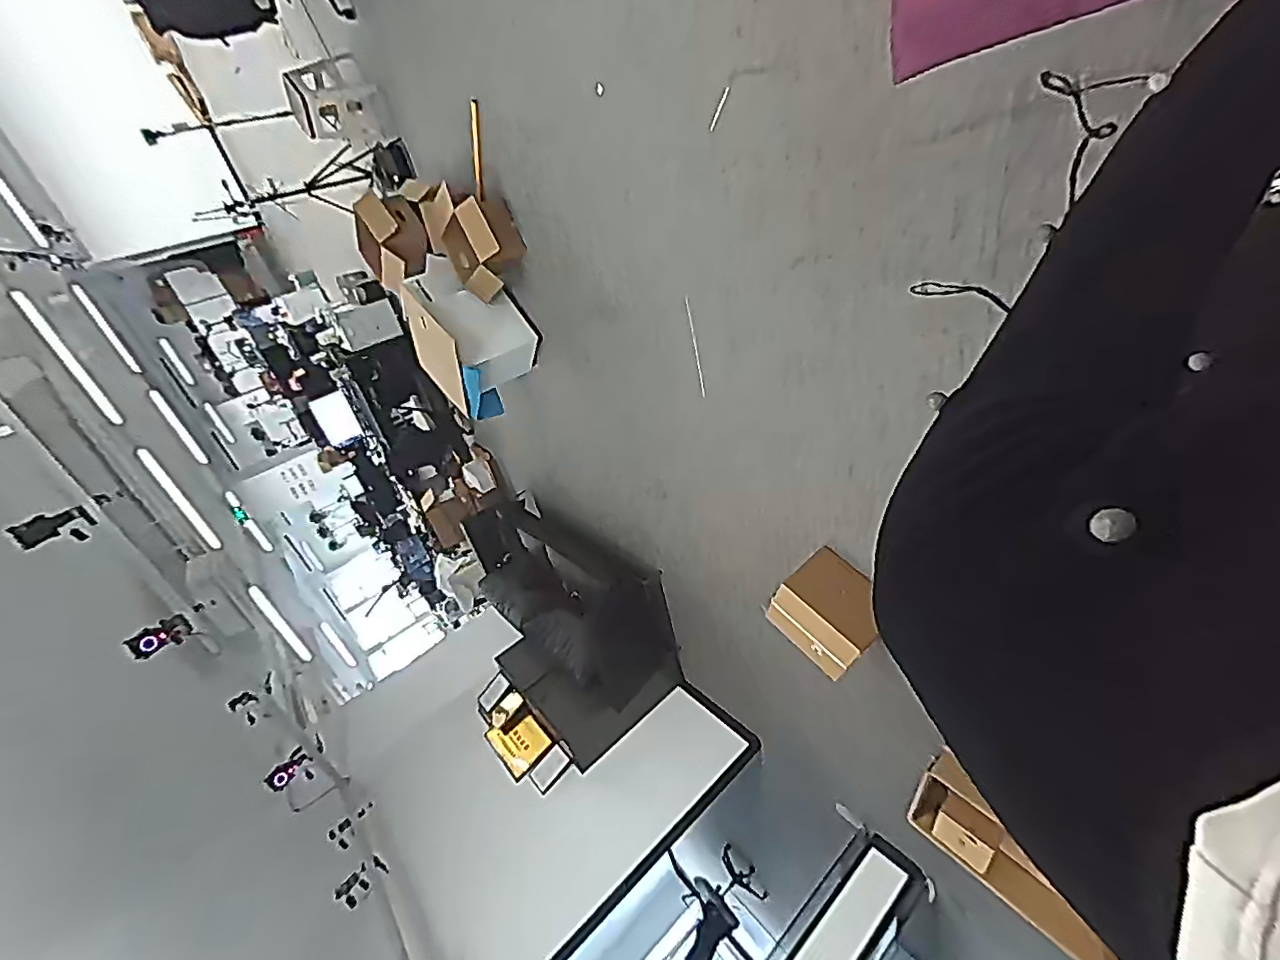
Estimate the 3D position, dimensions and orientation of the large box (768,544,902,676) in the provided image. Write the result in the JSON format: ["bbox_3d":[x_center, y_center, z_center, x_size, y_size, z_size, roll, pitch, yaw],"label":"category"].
[{"bbox_3d":[0.843,0.561,2.374,0.408,0.320,0.320,41,149,27],"label":"large box"}]
